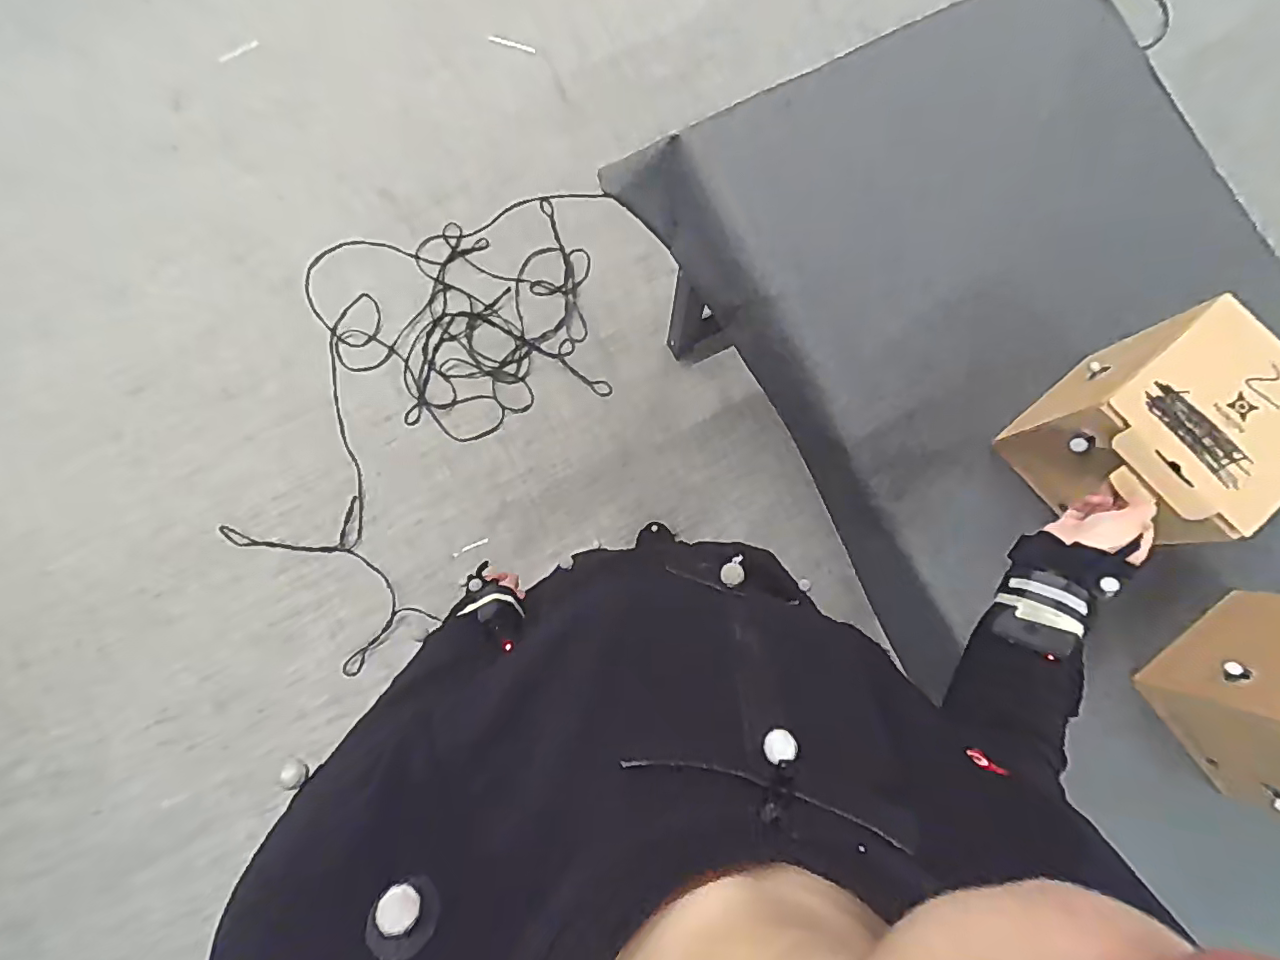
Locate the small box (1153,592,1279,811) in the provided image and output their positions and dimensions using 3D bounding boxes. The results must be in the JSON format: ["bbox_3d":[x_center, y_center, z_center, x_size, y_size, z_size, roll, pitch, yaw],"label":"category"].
[{"bbox_3d":[0.690,0.235,0.547,0.179,0.176,0.168,-37,87,-5],"label":"small box"}]
